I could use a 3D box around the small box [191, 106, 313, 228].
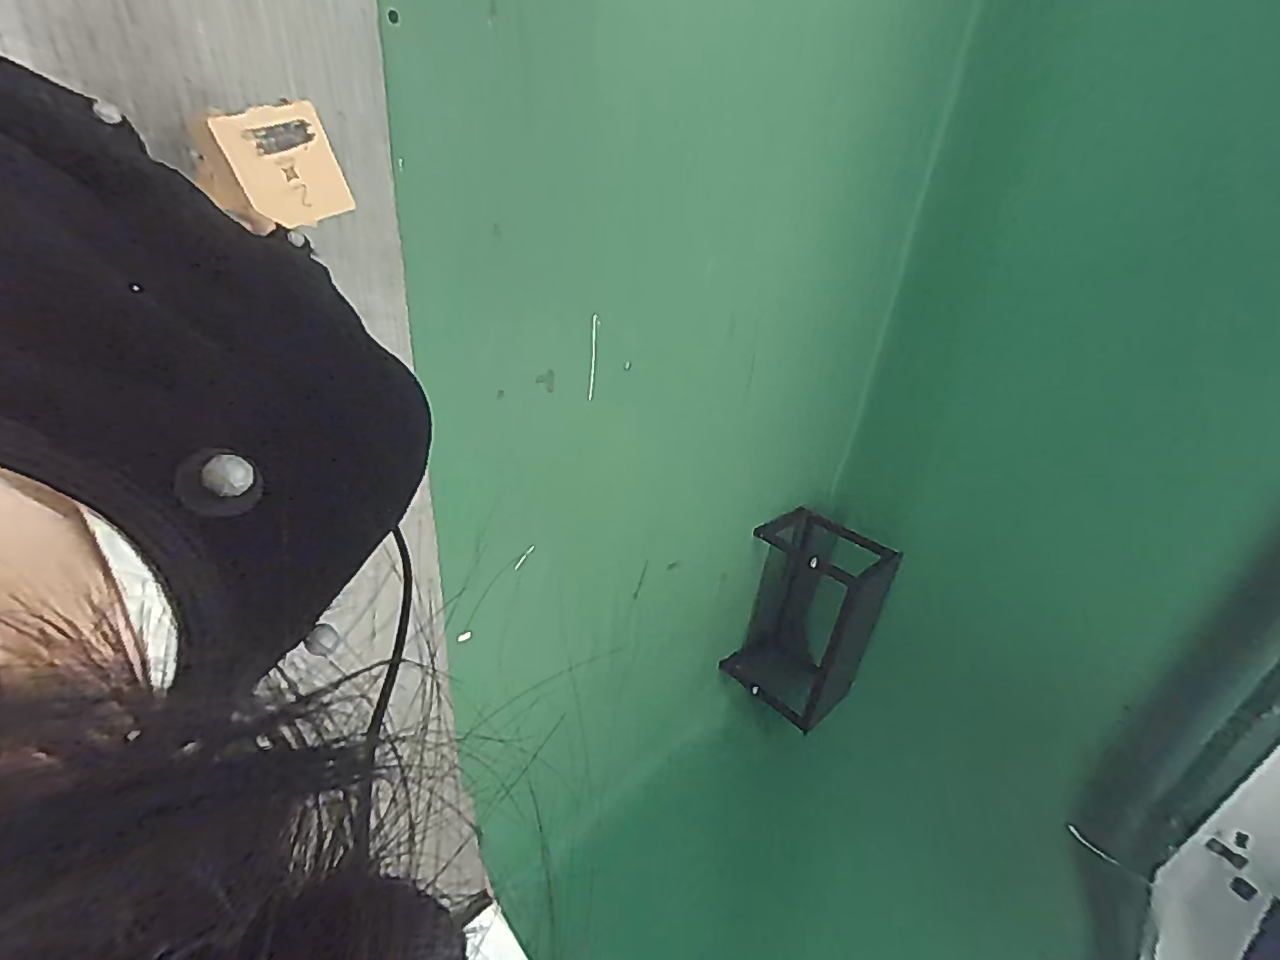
[{"bbox_3d":[-0.779,-0.618,1.083,0.179,0.176,0.168,-7,119,-46],"label":"small box"}]
